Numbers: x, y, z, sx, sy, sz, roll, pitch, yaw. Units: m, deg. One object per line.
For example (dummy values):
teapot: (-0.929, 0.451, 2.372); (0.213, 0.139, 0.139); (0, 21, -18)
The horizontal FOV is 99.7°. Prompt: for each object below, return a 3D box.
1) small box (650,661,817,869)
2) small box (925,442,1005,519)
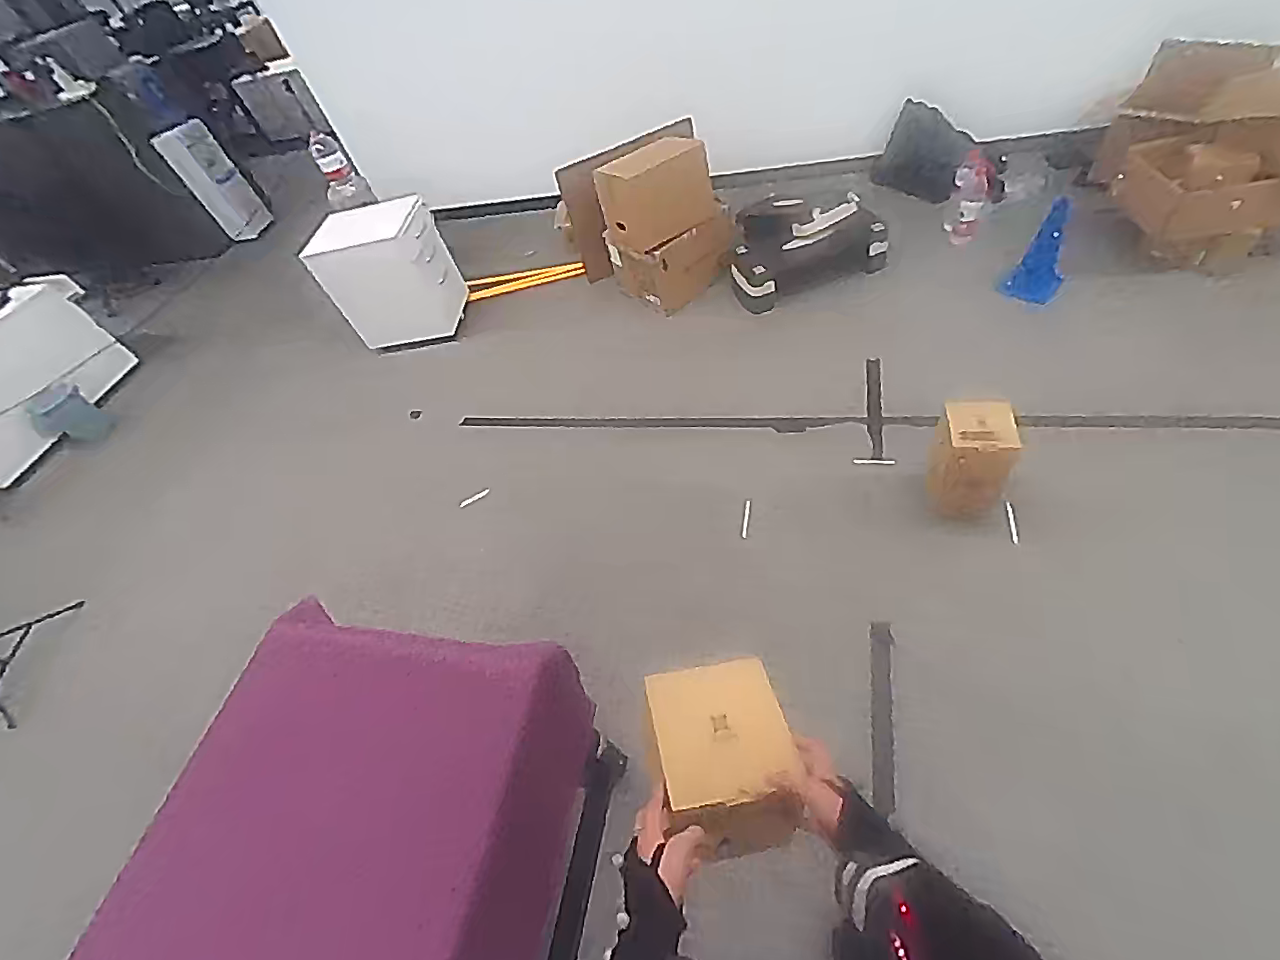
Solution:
small box: (0.108, 0.374, 0.717); (0.168, 0.176, 0.179); (-7, 38, -8)
small box: (1.001, 0.002, 1.683); (0.168, 0.176, 0.179); (-1, 54, 15)
